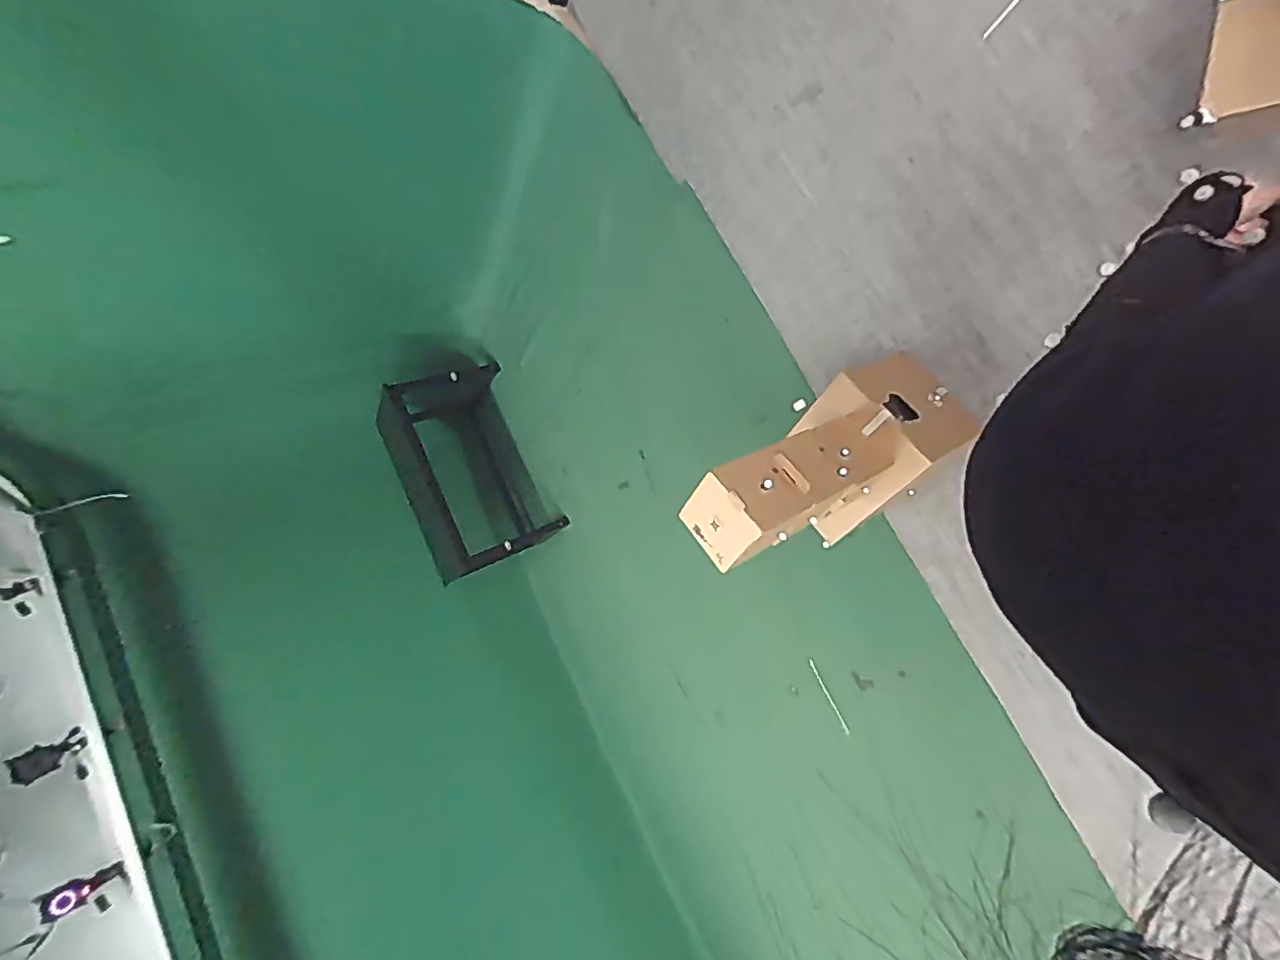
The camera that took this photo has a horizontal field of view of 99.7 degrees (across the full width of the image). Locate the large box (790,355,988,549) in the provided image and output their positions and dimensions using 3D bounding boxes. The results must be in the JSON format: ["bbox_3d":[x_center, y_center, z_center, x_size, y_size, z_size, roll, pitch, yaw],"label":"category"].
[{"bbox_3d":[0.647,-0.079,1.511,0.320,0.320,0.408,55,145,22],"label":"large box"}]

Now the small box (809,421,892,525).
[{"bbox_3d":[0.479,-0.022,1.338,0.179,0.176,0.168,55,143,20],"label":"small box"}]

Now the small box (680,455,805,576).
[{"bbox_3d":[0.223,0.070,1.154,0.168,0.176,0.179,54,142,21],"label":"small box"}]

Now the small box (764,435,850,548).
[{"bbox_3d":[0.352,0.022,1.244,0.168,0.176,0.179,54,143,21],"label":"small box"}]
